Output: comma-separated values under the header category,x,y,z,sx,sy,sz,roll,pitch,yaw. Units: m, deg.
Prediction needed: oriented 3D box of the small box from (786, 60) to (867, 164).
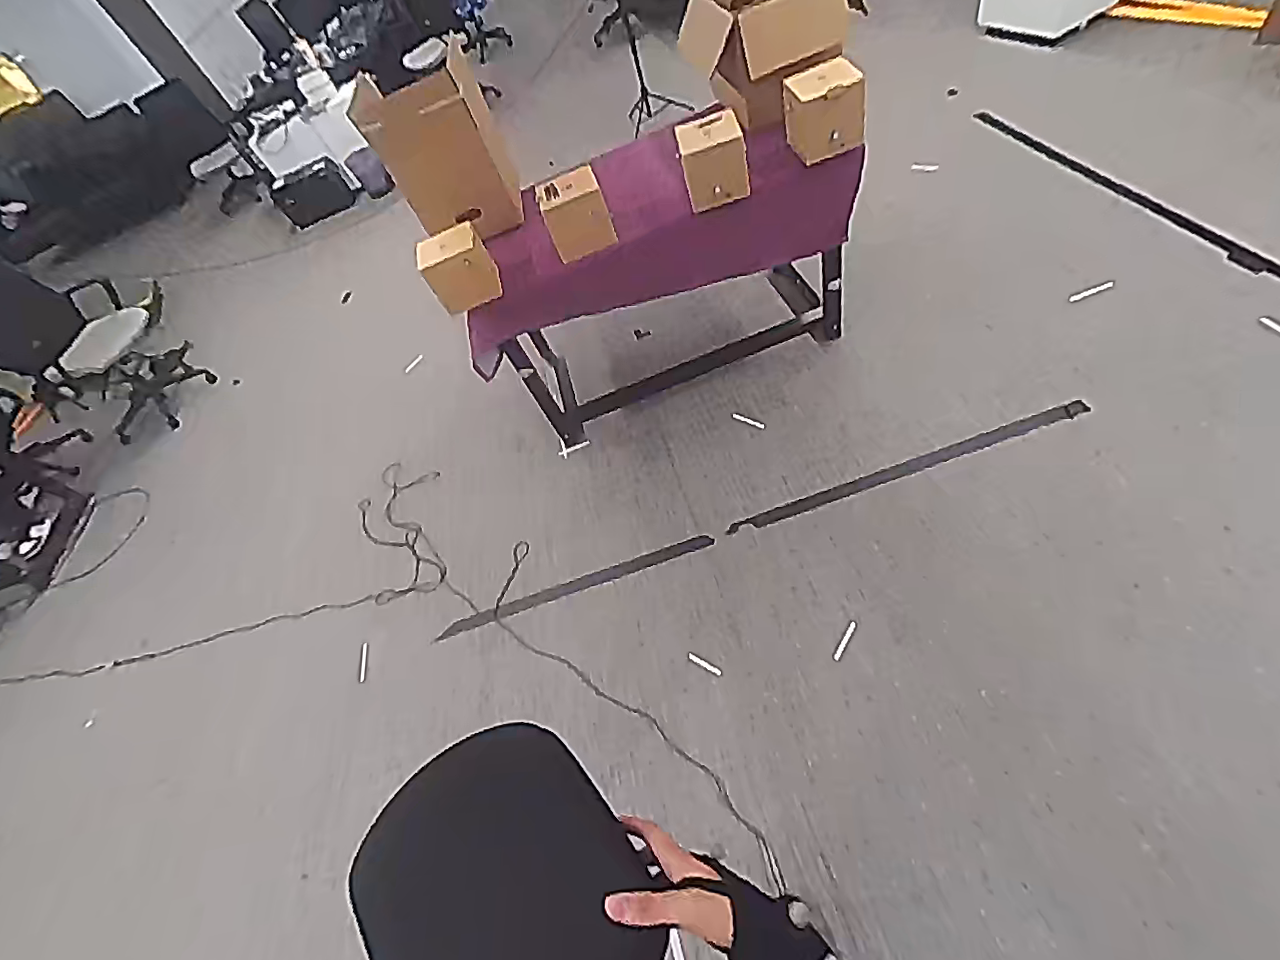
category,x,y,z,sx,sy,sz,roll,pitch,yaw
small box,0.515,-1.017,1.502,0.168,0.176,0.179,-17,52,9

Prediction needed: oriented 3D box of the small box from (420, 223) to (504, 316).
category,x,y,z,sx,sy,sz,roll,pitch,yaw
small box,-0.526,-0.618,1.603,0.179,0.176,0.168,-22,51,3
